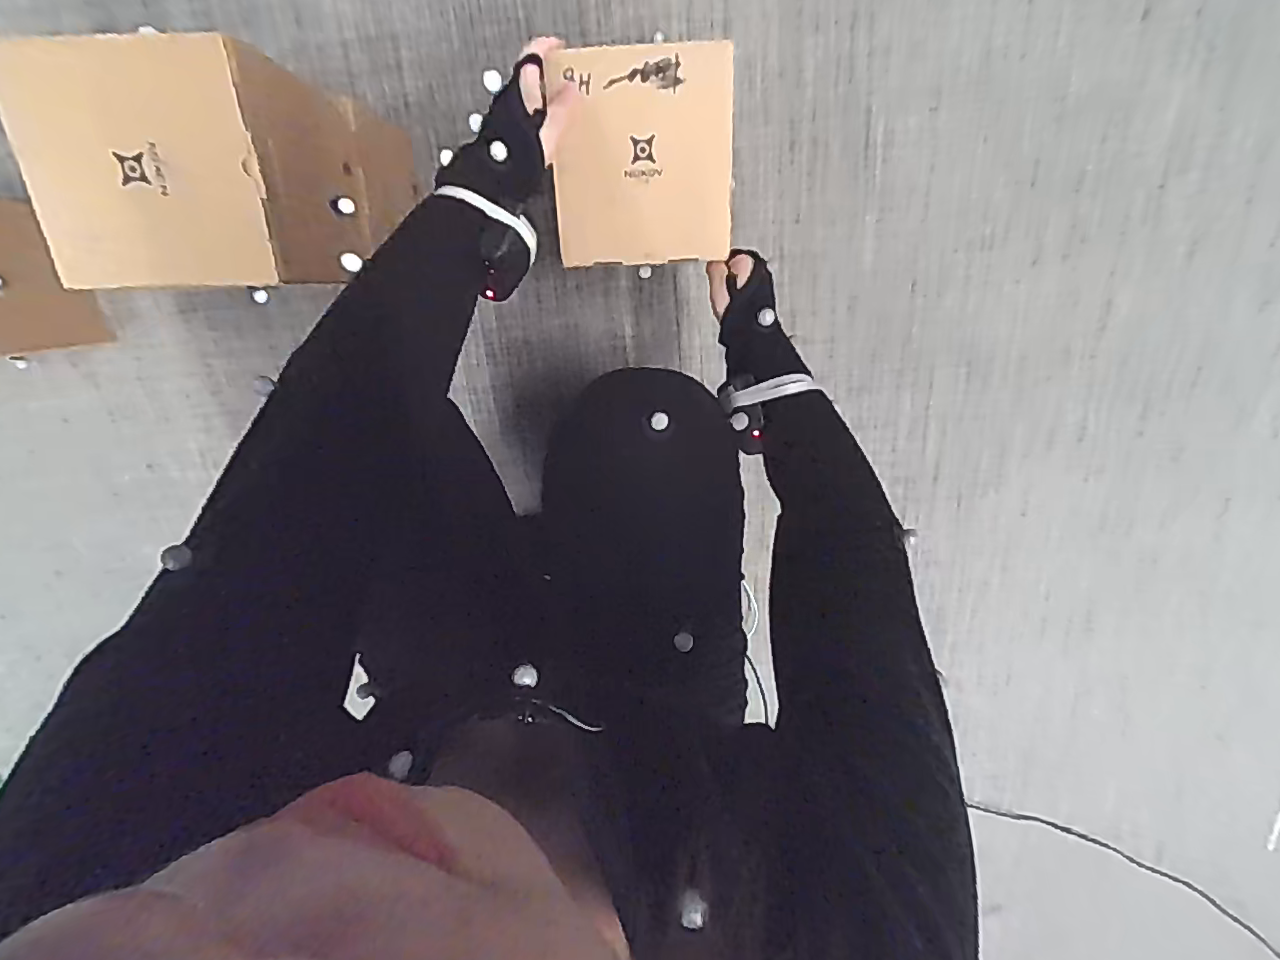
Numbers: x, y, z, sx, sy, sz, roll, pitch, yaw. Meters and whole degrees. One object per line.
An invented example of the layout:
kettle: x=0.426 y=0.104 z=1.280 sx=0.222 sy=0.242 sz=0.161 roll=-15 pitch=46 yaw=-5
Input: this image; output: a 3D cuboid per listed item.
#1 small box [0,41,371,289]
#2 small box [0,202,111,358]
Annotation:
small box: x=-0.377 y=-0.260 z=0.486 sx=0.179 sy=0.176 sz=0.168 roll=-1 pitch=110 yaw=-1
small box: x=-0.824 y=-0.240 z=0.661 sx=0.168 sy=0.176 sz=0.179 roll=-6 pitch=110 yaw=1
